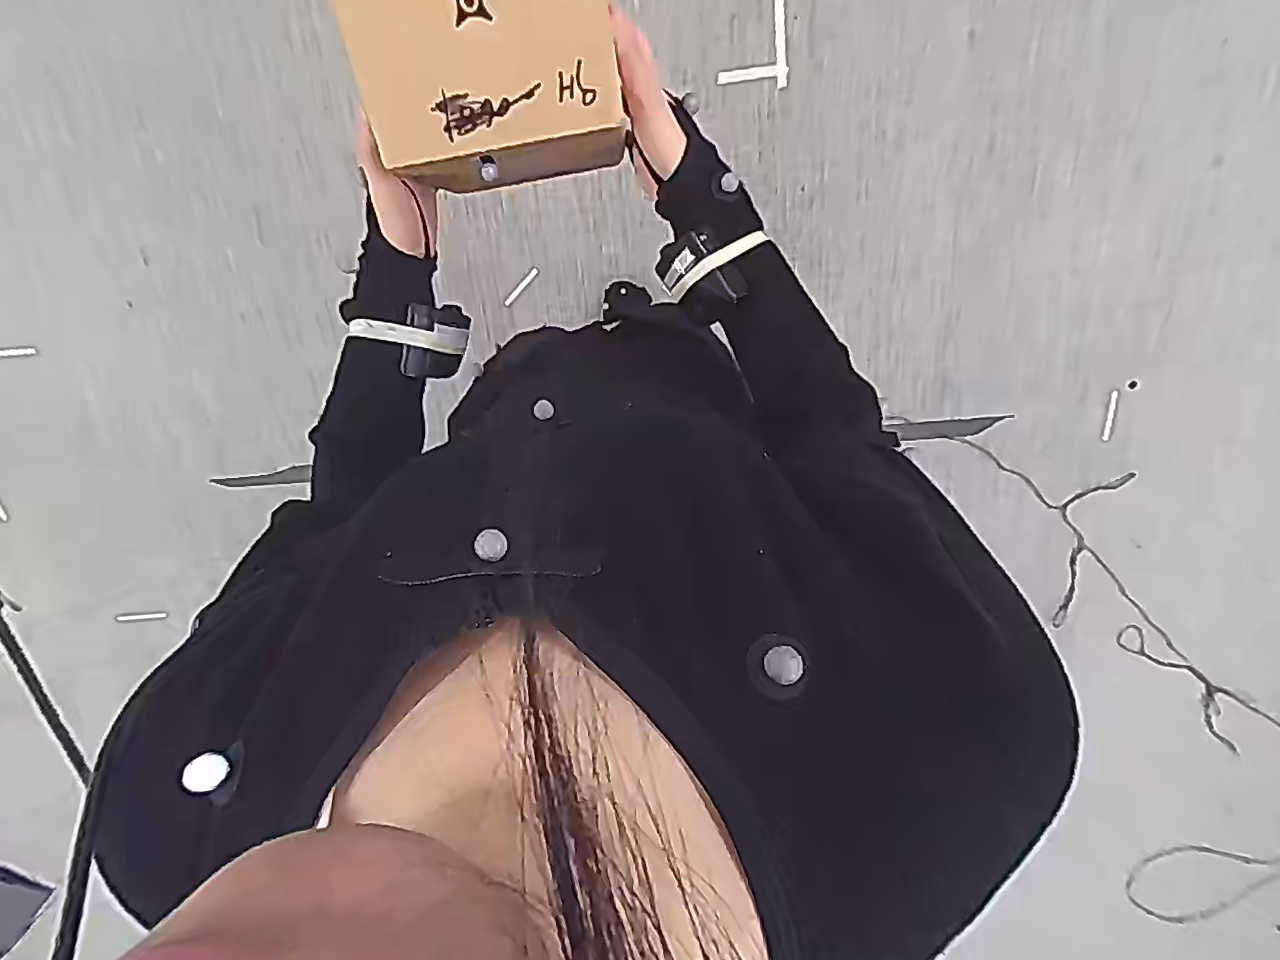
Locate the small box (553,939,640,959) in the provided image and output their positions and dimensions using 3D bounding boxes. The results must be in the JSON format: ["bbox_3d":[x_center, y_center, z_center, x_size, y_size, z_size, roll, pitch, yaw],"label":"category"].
[{"bbox_3d":[-0.082,0.998,1.008,0.168,0.176,0.179,-3,111,2],"label":"small box"}]

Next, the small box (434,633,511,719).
[{"bbox_3d":[-0.502,0.585,1.634,0.179,0.176,0.168,11,108,-6],"label":"small box"}]

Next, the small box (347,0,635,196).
[{"bbox_3d":[-0.100,-0.328,0.400,0.168,0.176,0.179,-9,112,1],"label":"small box"}]
